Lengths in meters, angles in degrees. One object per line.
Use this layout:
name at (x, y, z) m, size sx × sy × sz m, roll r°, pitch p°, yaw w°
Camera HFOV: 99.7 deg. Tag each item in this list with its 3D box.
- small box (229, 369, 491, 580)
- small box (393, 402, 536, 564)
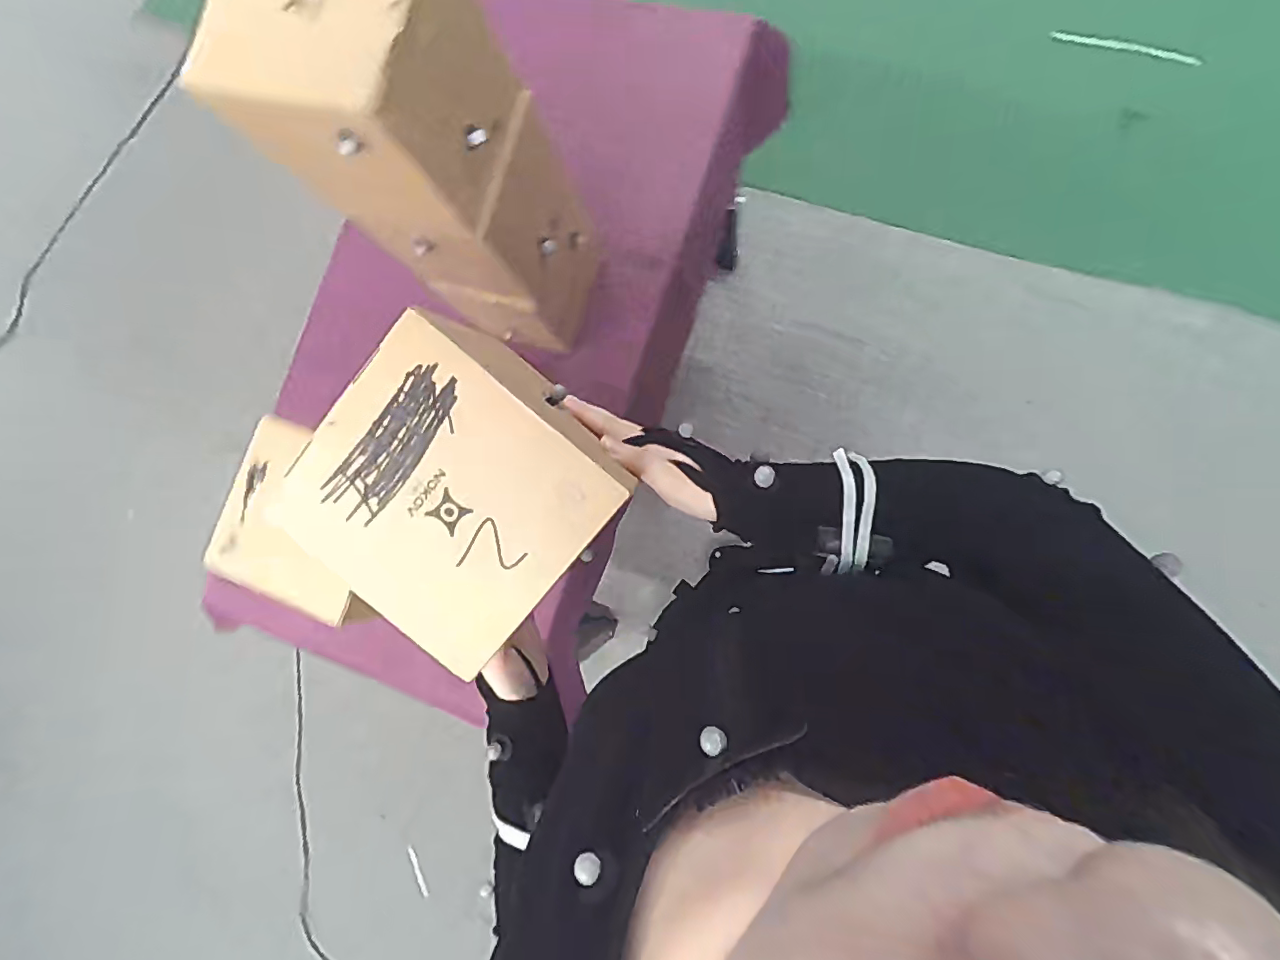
small box at (-0.306, -0.002, 0.630) m, size 0.179 × 0.176 × 0.168 m, roll 26°, pitch 88°, yaw 11°
small box at (-0.283, 0.012, 0.792) m, size 0.179 × 0.176 × 0.168 m, roll 26°, pitch 88°, yaw 11°
